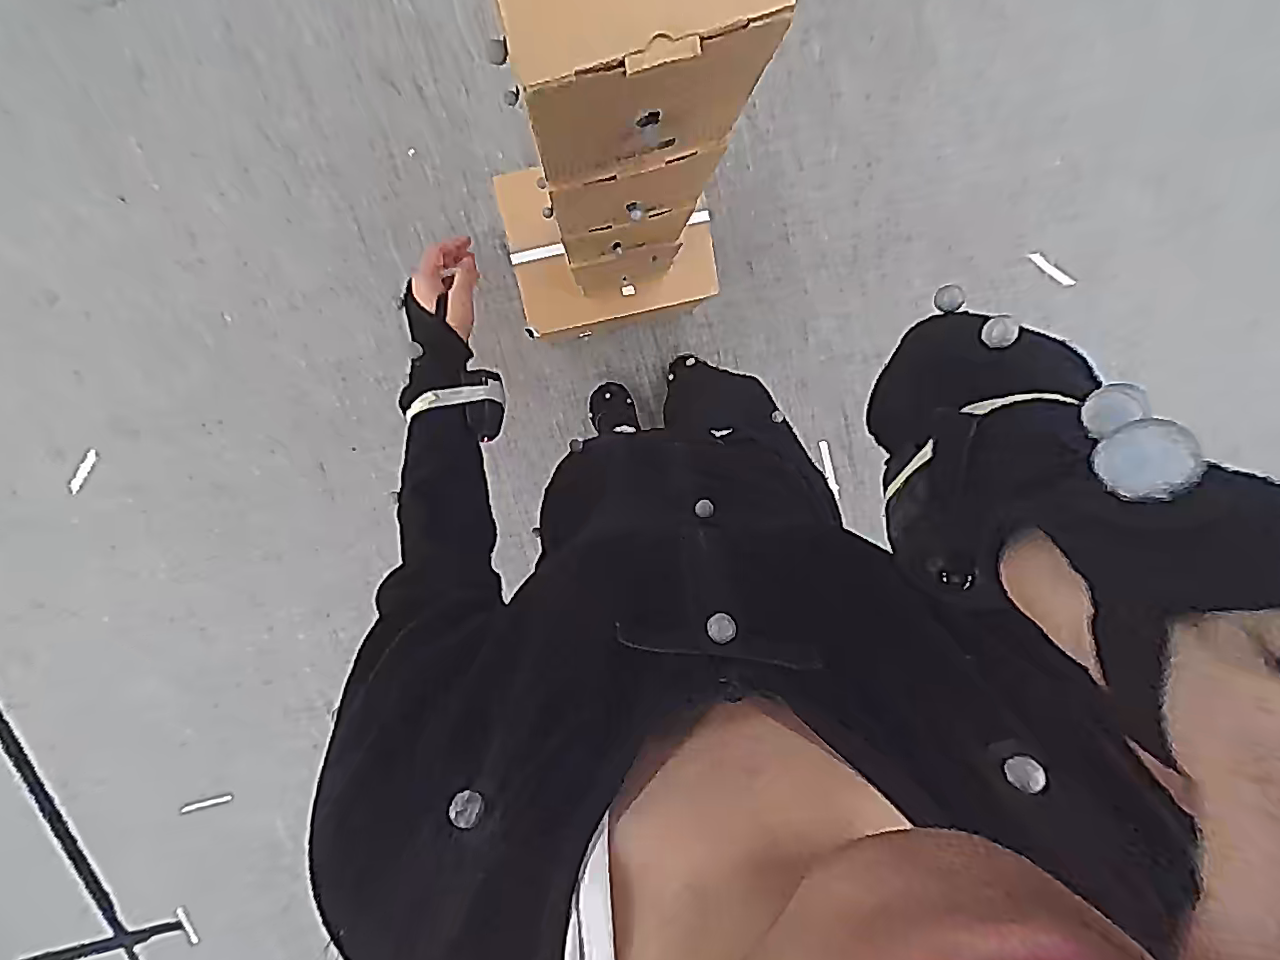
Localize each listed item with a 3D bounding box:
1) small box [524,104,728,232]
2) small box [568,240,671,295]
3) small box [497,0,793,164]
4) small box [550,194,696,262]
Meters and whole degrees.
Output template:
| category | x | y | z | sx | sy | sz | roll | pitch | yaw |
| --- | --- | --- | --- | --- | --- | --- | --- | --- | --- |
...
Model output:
| category | x | y | z | sx | sy | sz | roll | pitch | yaw |
| --- | --- | --- | --- | --- | --- | --- | --- | --- | --- |
| small box | -0.028 | -0.370 | 0.529 | 0.168 | 0.176 | 0.179 | -16 | 103 | -1 |
| small box | -0.053 | -0.456 | 1.012 | 0.179 | 0.176 | 0.168 | -15 | 103 | -2 |
| small box | -0.016 | -0.342 | 0.368 | 0.168 | 0.176 | 0.179 | -16 | 103 | -1 |
| small box | -0.039 | -0.400 | 0.691 | 0.168 | 0.176 | 0.179 | -14 | 103 | -2 |
